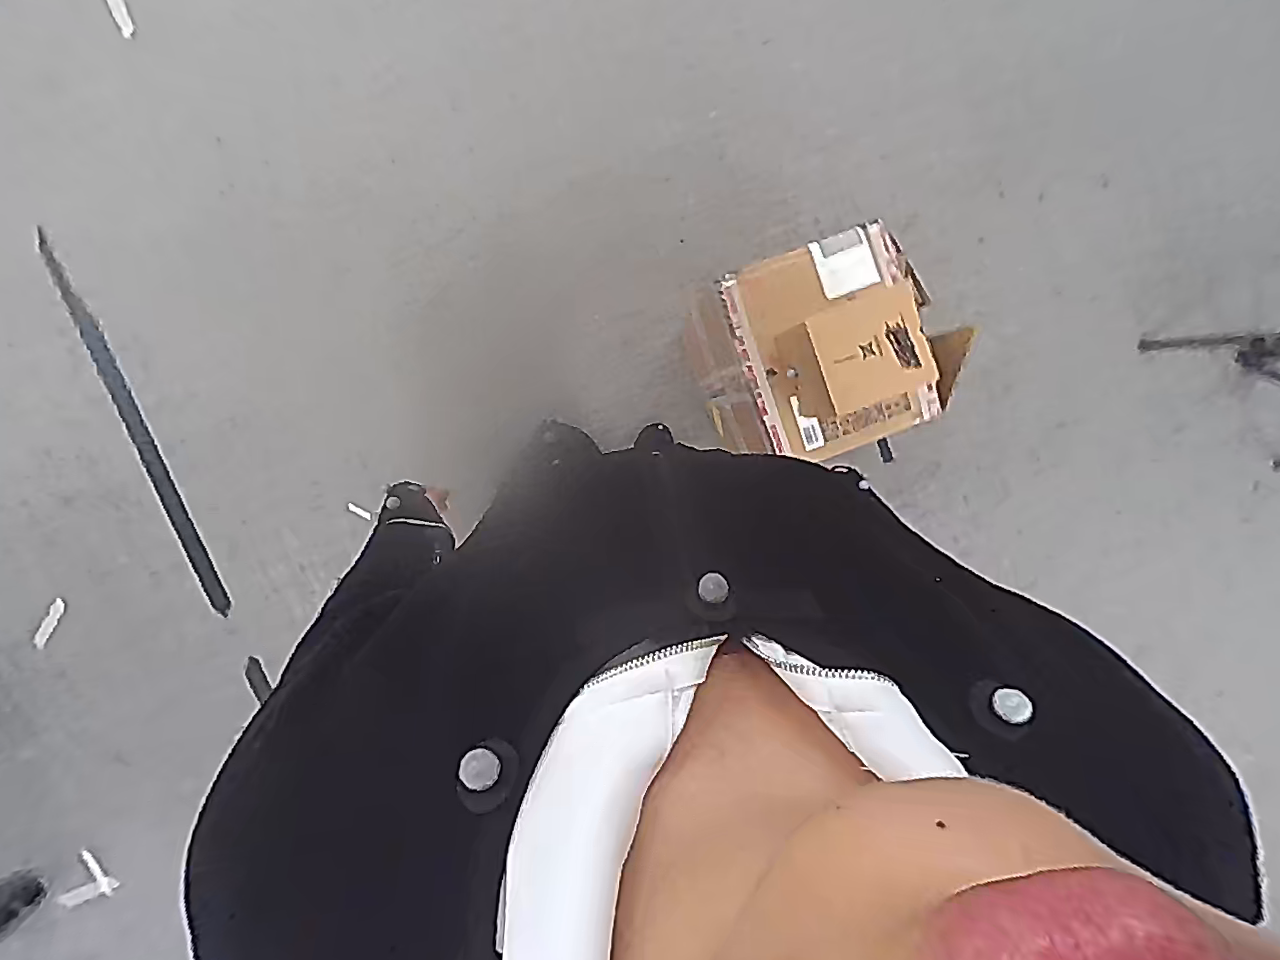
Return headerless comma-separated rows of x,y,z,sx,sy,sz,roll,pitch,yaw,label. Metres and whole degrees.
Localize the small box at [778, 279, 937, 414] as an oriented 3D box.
0.362,-0.220,0.929,0.179,0.176,0.168,-21,96,1,small box
